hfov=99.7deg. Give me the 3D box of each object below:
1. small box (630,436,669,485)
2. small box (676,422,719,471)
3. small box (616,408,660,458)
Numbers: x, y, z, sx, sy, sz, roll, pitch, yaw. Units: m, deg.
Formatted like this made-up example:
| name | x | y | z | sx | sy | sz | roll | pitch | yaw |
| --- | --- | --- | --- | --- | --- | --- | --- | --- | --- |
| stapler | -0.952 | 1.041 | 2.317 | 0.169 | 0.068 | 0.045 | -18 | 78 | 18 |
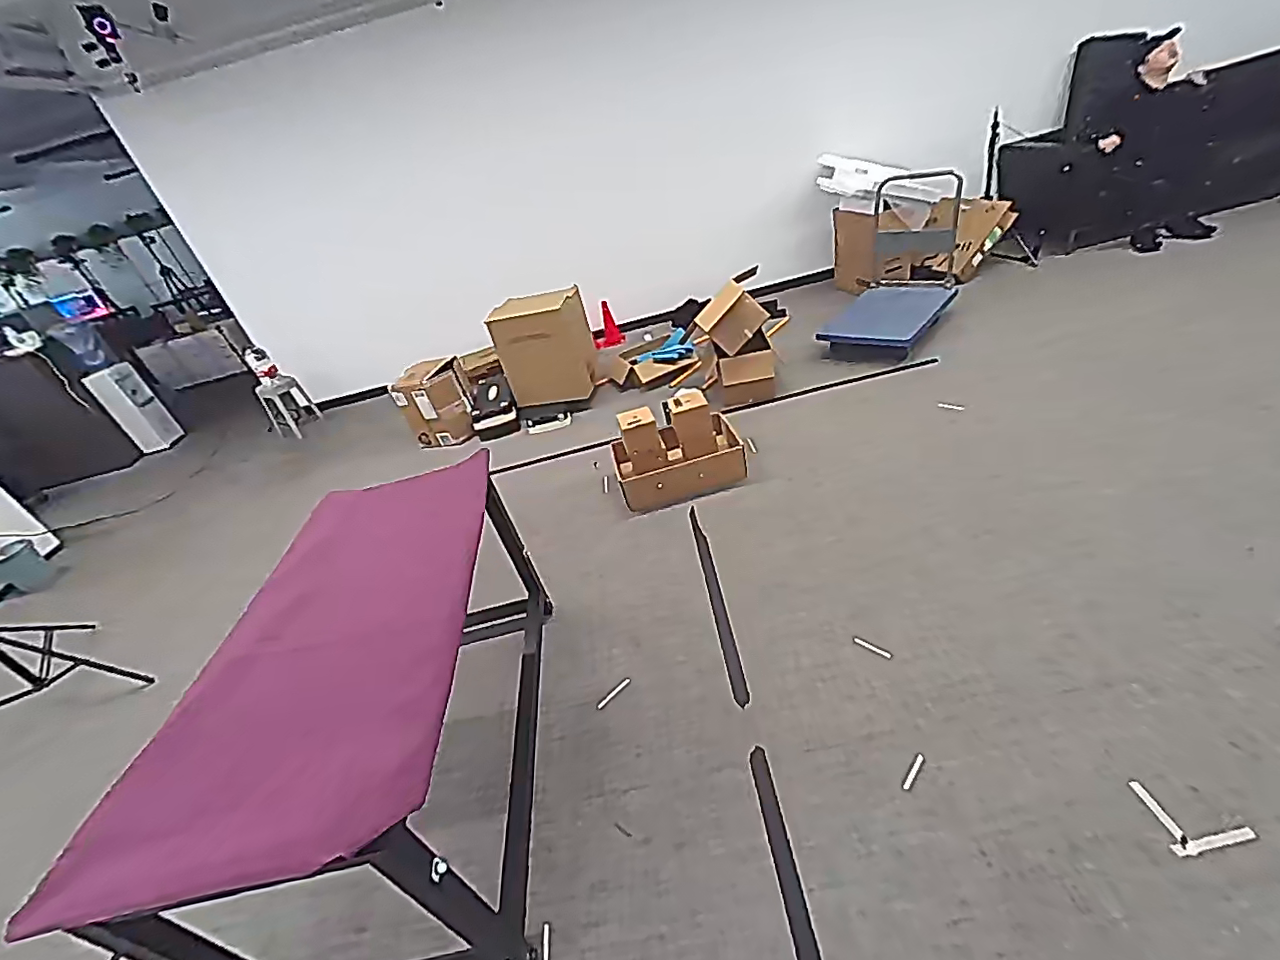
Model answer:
| name | x | y | z | sx | sy | sz | roll | pitch | yaw |
| --- | --- | --- | --- | --- | --- | --- | --- | --- | --- |
| small box | 0.044 | -0.098 | 2.739 | 0.179 | 0.176 | 0.168 | -16 | 32 | -3 |
| small box | 0.293 | -0.169 | 2.745 | 0.168 | 0.176 | 0.179 | -17 | 33 | 0 |
| small box | -0.007 | -0.224 | 2.643 | 0.168 | 0.176 | 0.179 | -16 | 32 | -4 |
